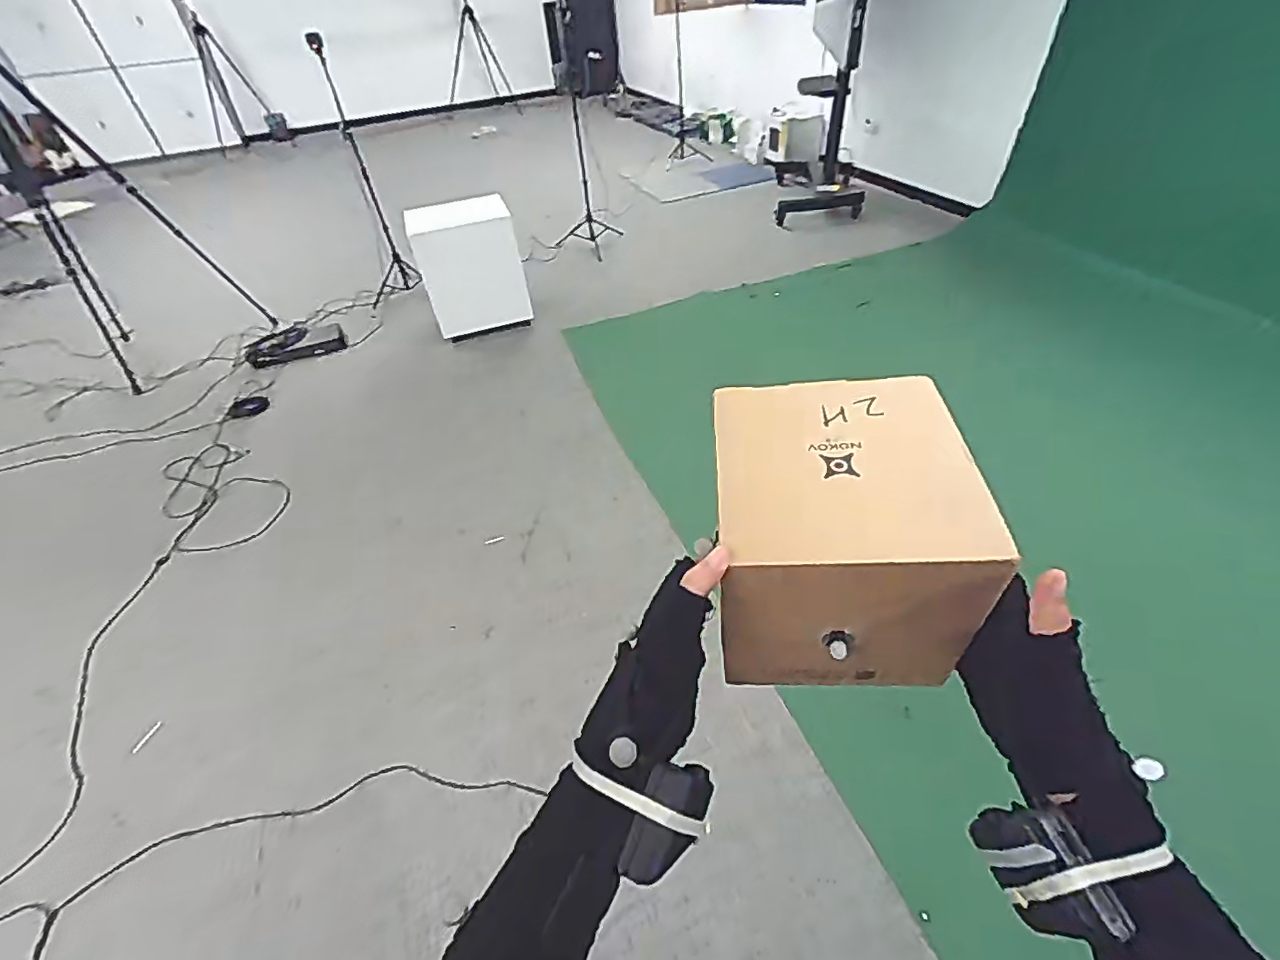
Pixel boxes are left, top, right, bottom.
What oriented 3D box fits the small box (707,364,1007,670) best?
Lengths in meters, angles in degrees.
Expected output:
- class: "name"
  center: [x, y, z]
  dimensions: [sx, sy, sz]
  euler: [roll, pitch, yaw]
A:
- class: "small box"
  center: [0.140, 0.034, 0.421]
  dimensions: [0.168, 0.176, 0.179]
  euler: [-2, 46, 8]
